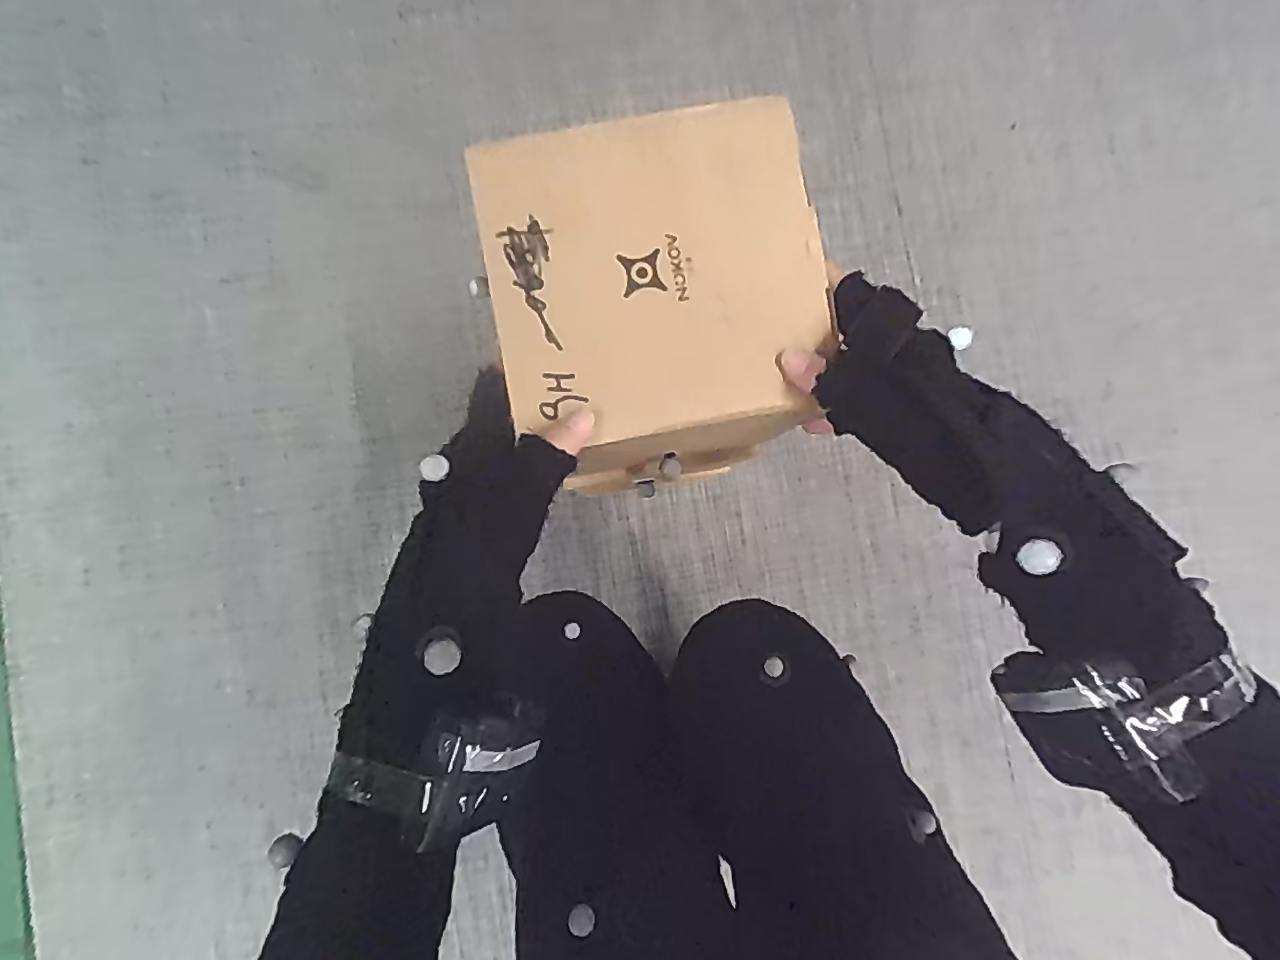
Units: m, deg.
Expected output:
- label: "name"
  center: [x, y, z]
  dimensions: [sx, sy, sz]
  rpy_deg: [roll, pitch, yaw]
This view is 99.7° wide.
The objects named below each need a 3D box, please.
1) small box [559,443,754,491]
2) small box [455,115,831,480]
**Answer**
- label: "small box"
  center: [0.000, -0.086, 0.527]
  dimensions: [0.168, 0.176, 0.179]
  rpy_deg: [-11, 89, 1]
- label: "small box"
  center: [-0.002, -0.096, 0.360]
  dimensions: [0.179, 0.176, 0.168]
  rpy_deg: [-10, 87, -2]
